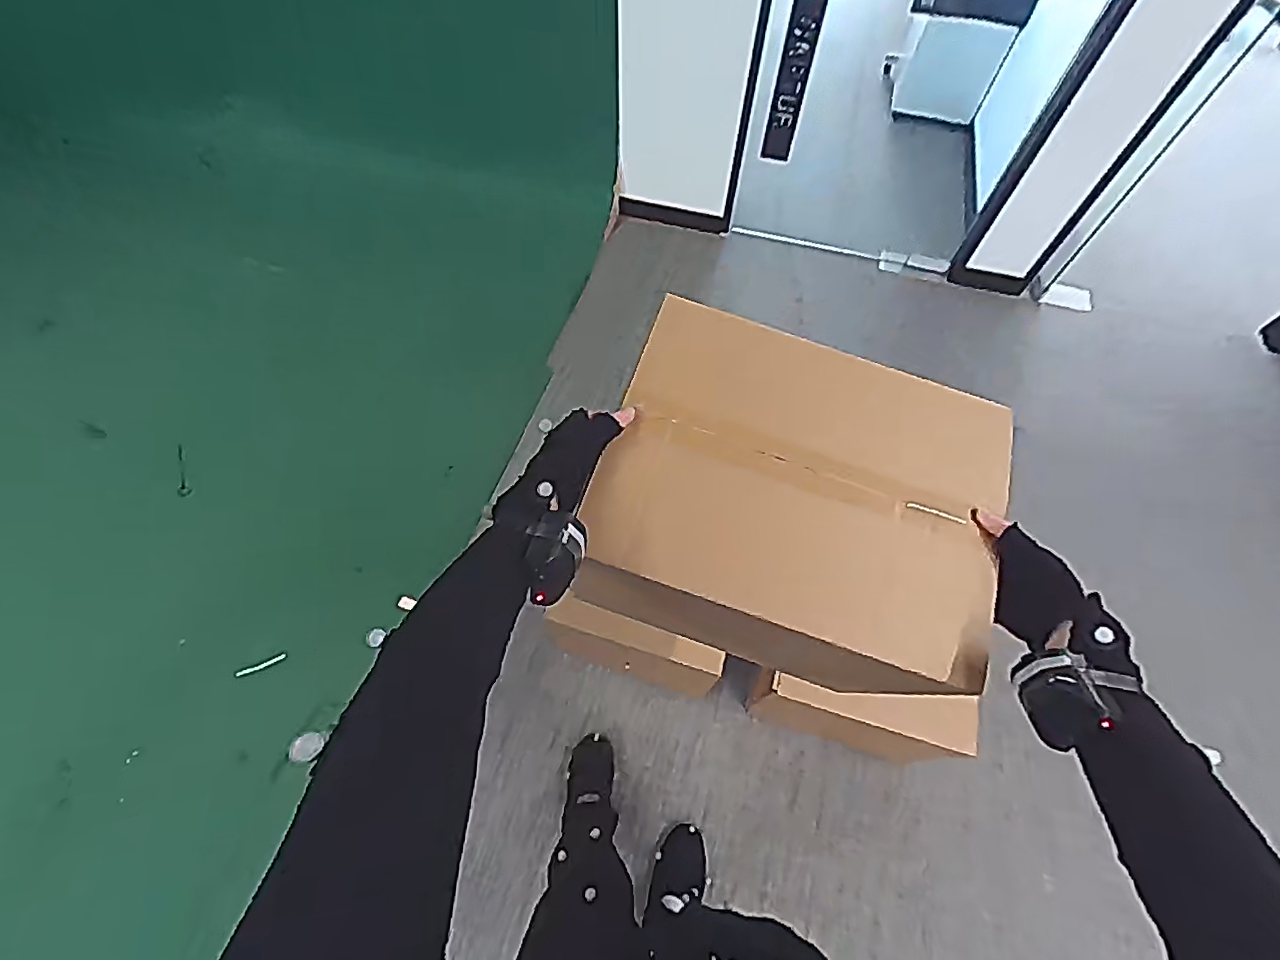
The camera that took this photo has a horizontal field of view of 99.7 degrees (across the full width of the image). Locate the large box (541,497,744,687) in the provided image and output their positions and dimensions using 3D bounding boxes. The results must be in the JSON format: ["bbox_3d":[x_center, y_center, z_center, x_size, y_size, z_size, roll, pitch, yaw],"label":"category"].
[{"bbox_3d":[0.015,0.289,1.357,0.408,0.320,0.320,16,61,8],"label":"large box"}]
